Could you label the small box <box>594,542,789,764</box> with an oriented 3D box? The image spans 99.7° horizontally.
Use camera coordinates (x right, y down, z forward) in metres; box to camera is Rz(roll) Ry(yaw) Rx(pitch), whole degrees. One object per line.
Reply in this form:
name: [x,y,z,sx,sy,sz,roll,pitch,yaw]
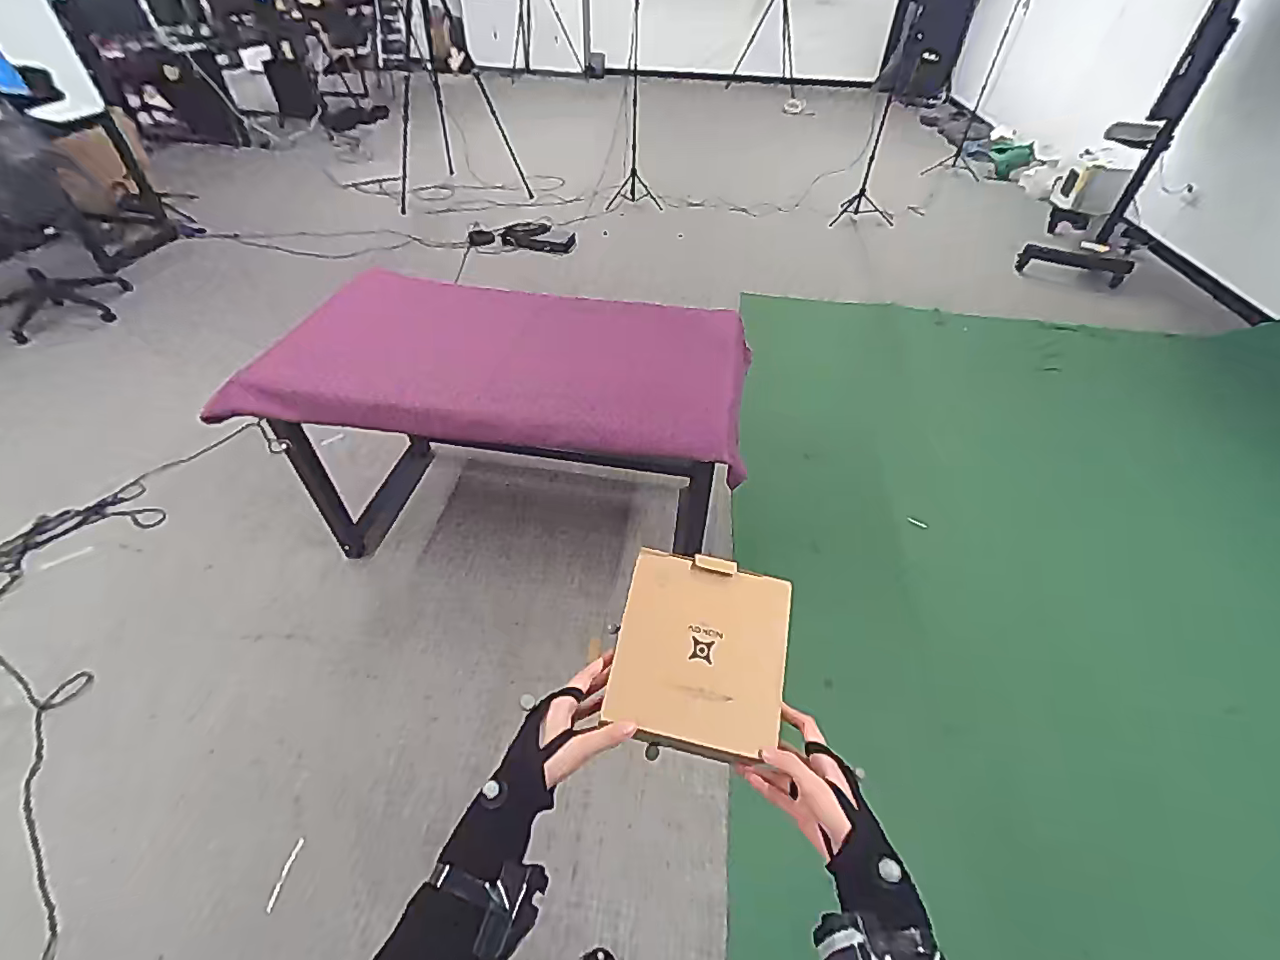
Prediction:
small box: [0.049,0.194,0.591,0.168,0.176,0.179,14,62,3]
